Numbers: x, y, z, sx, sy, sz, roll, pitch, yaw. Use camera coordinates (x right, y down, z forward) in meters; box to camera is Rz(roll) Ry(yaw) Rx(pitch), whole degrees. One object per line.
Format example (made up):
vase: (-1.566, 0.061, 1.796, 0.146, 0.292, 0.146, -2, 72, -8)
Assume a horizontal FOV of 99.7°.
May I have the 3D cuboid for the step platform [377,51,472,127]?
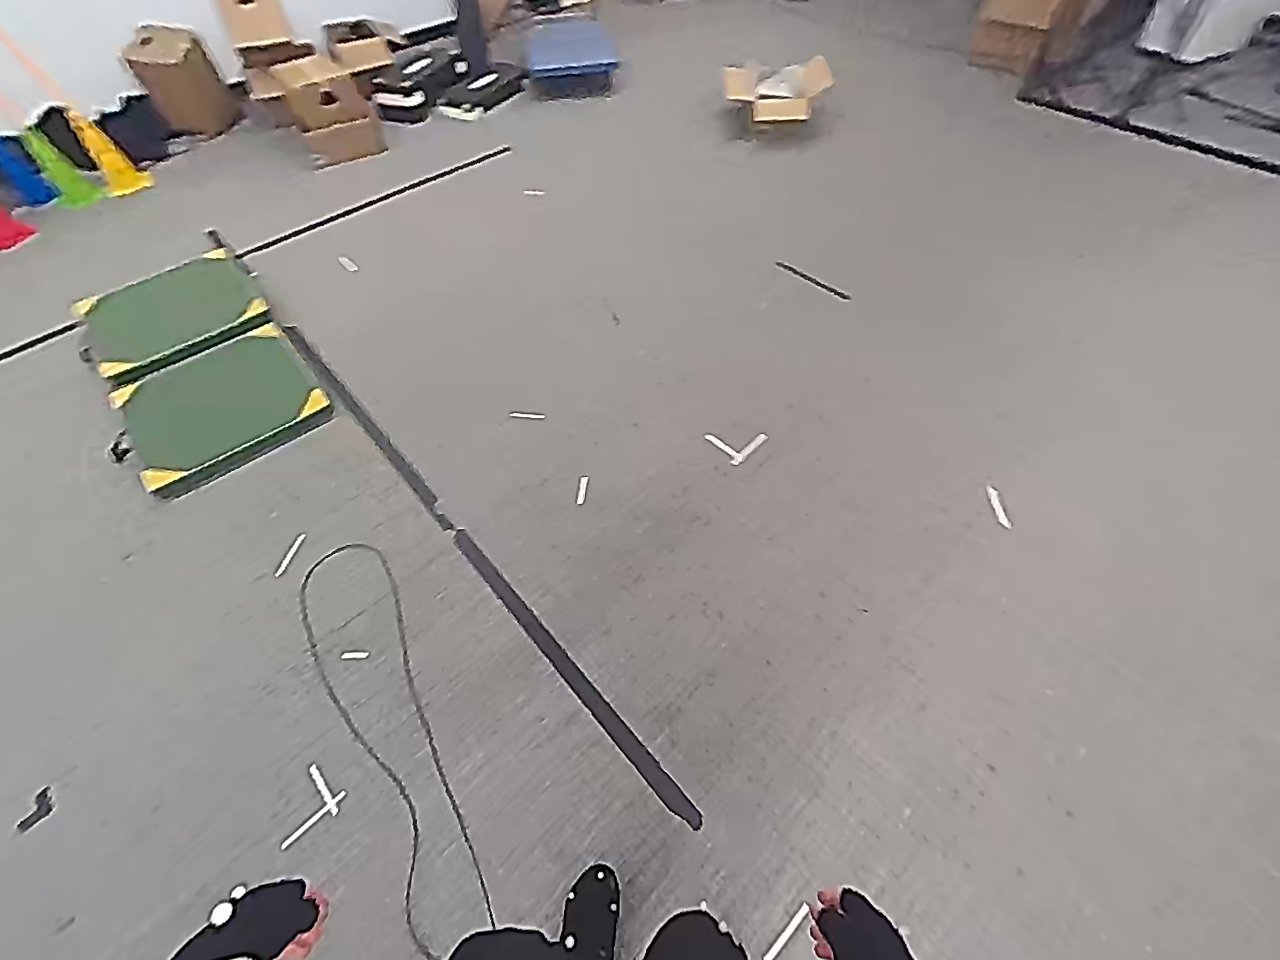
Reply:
step platform: (-1.380, -2.540, 3.495, 0.286, 0.204, 0.684, 15, 57, 11)
